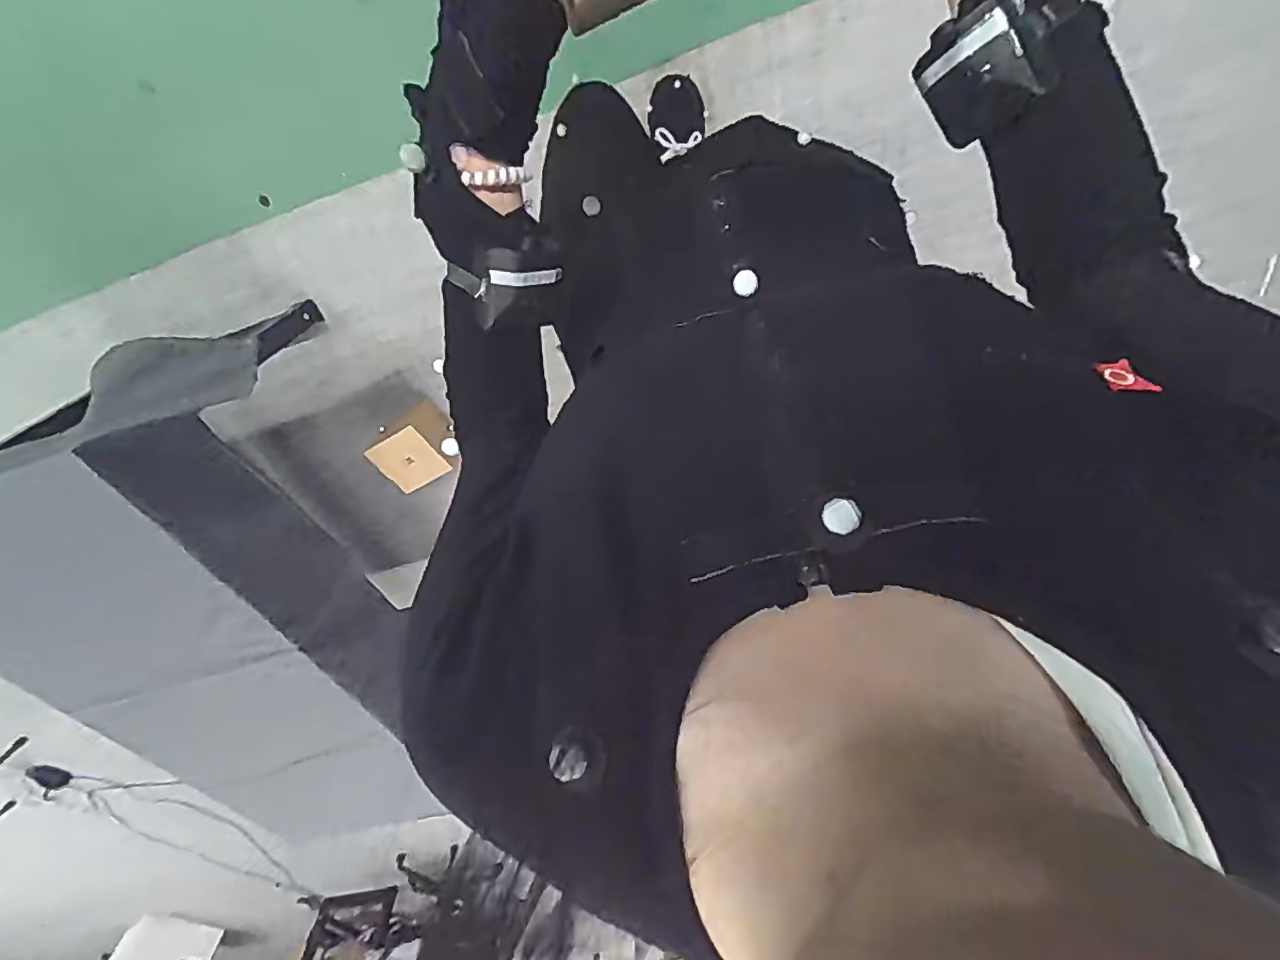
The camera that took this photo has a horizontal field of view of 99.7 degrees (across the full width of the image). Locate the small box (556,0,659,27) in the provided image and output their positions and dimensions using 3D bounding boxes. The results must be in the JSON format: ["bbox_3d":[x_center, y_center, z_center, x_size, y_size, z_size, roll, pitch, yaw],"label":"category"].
[{"bbox_3d":[0.007,-0.347,0.248,0.168,0.176,0.179,-22,123,6],"label":"small box"}]

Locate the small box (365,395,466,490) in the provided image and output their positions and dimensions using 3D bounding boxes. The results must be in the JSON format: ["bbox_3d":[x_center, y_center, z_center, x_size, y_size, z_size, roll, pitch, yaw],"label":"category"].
[{"bbox_3d":[-0.623,-0.109,1.524,0.179,0.176,0.168,-25,124,17],"label":"small box"}]
